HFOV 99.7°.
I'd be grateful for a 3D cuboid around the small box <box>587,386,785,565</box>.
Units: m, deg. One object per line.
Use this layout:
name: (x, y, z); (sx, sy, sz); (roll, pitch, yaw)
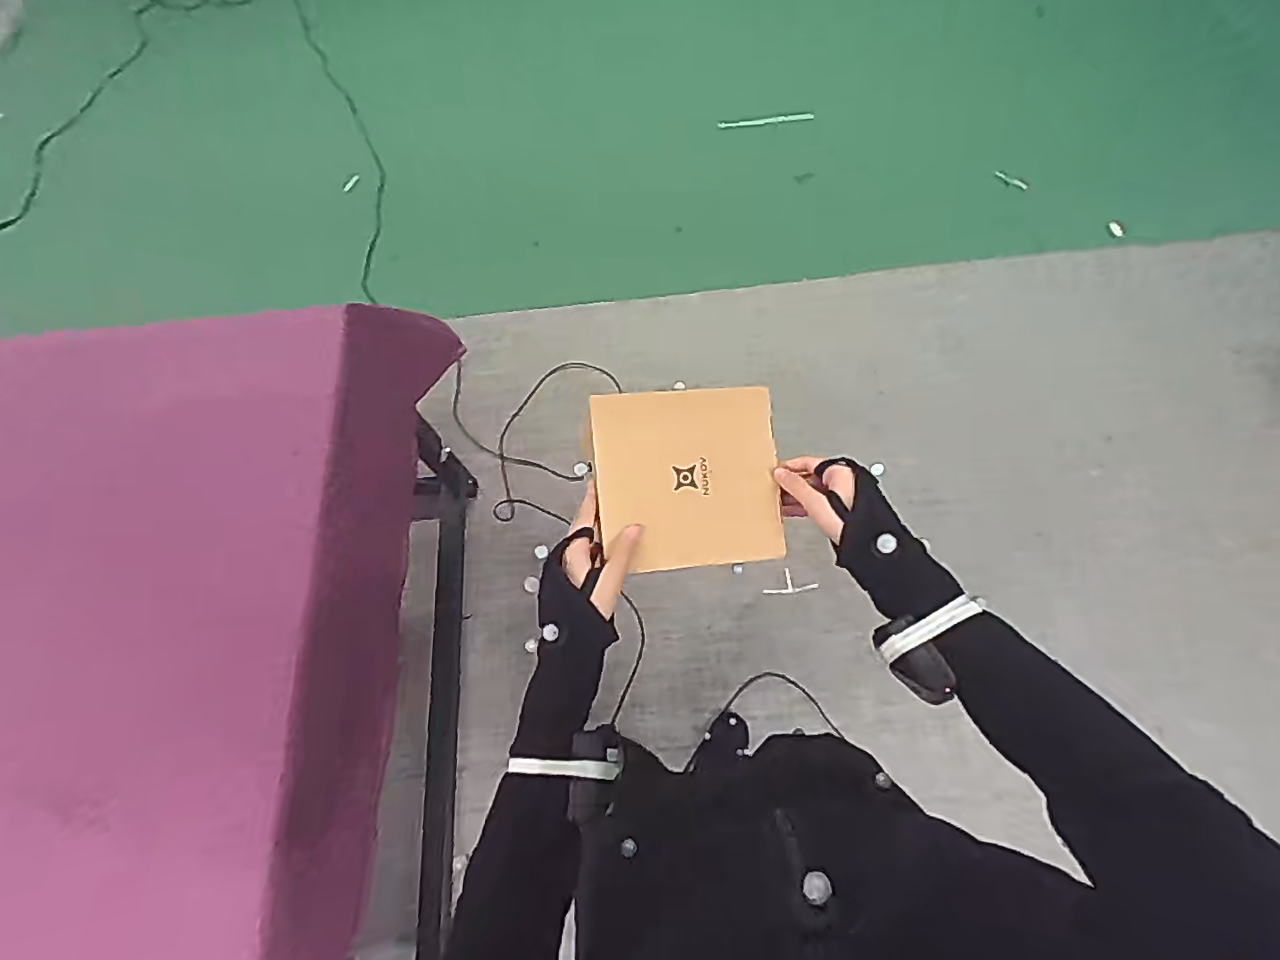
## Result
small box: (0.036, 0.001, 0.593); (0.179, 0.176, 0.168); (-5, 86, -10)
